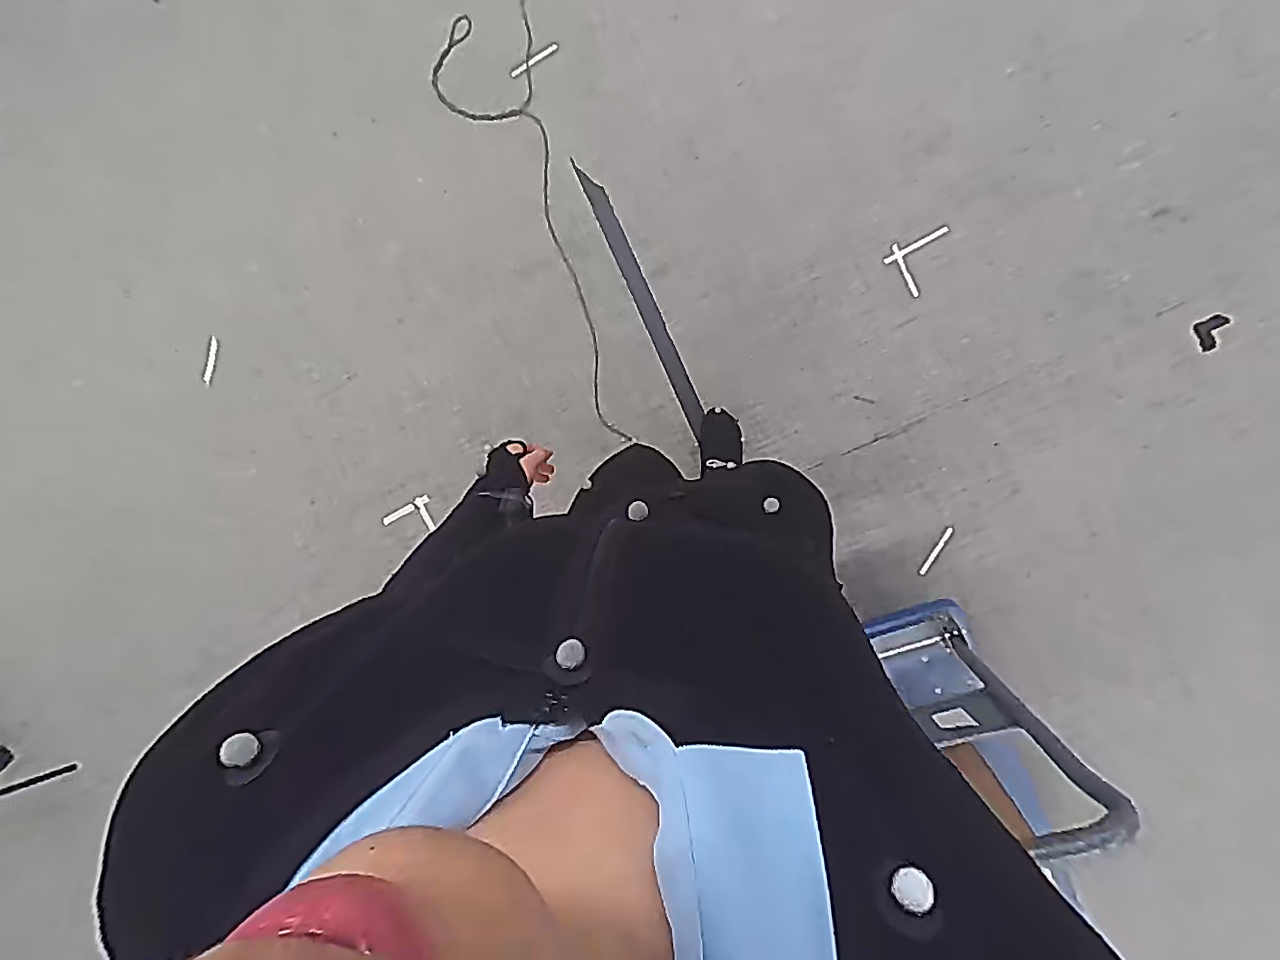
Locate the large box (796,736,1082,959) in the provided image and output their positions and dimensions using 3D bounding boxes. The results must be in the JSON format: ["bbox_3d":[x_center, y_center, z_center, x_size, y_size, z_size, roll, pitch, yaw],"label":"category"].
[{"bbox_3d":[0.587,0.805,1.136,0.408,0.320,0.320,-21,93,11],"label":"large box"}]
